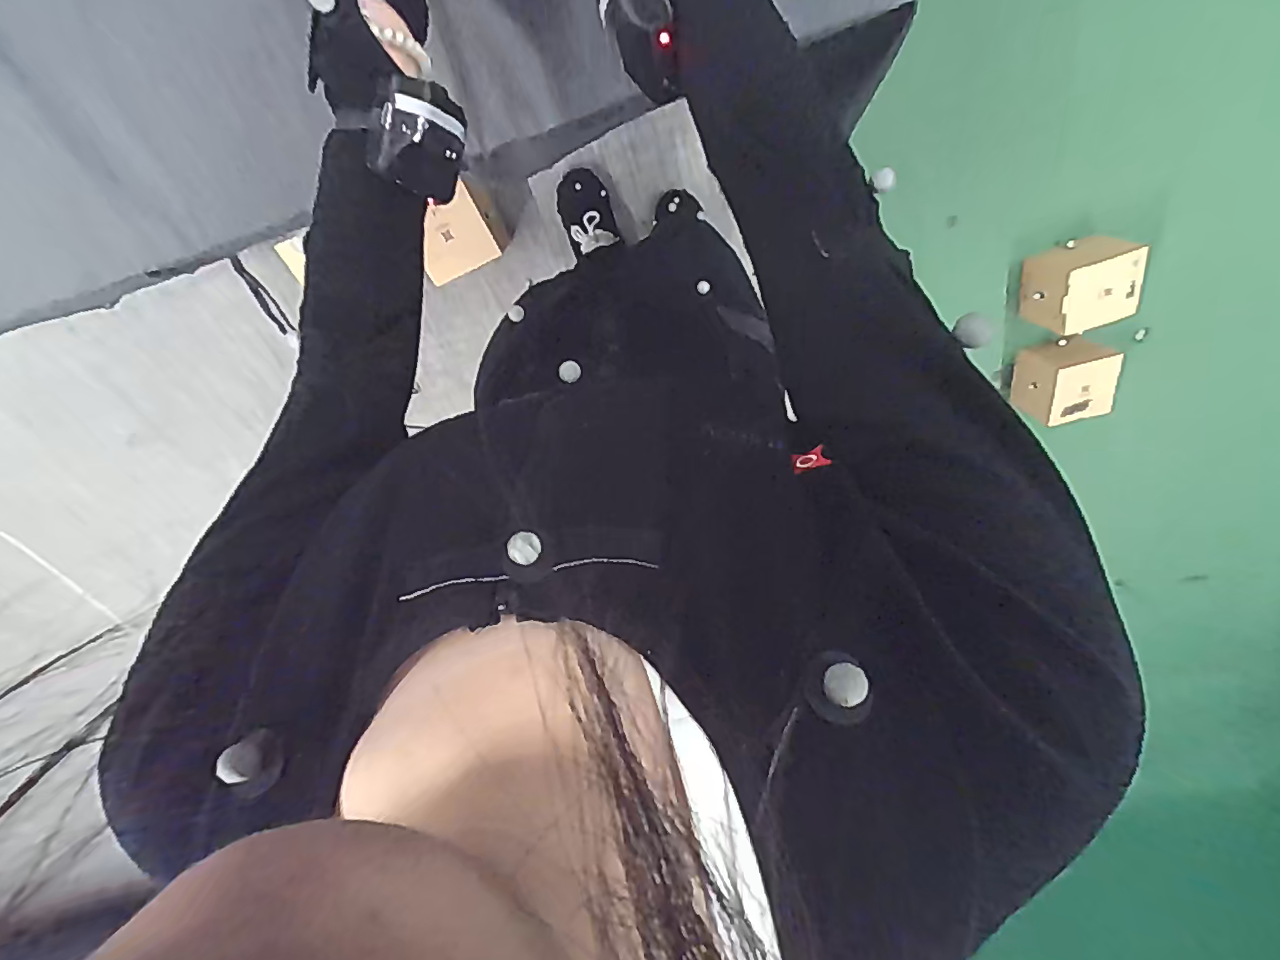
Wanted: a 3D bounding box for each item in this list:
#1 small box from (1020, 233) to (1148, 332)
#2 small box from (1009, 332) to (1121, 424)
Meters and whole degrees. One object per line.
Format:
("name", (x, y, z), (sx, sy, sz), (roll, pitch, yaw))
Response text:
("small box", (1.090, -0.494, 1.347), (0.179, 0.176, 0.168), (-16, 124, 7))
("small box", (1.162, -0.285, 1.497), (0.168, 0.176, 0.179), (-14, 124, 4))
